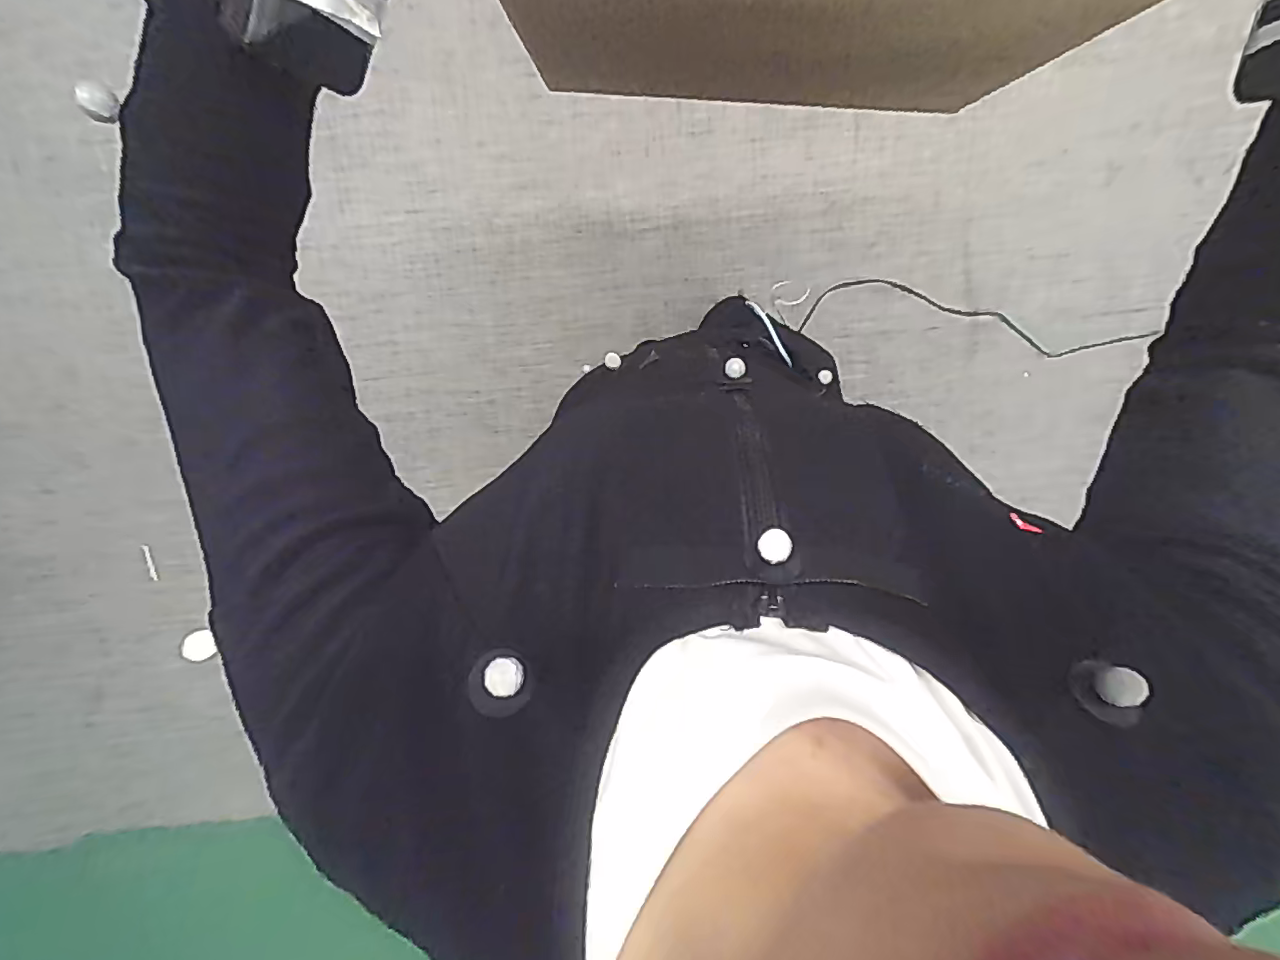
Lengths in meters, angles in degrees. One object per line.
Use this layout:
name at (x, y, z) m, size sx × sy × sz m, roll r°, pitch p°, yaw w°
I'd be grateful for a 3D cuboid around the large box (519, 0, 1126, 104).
large box at (0.117, -0.467, 0.342) m, size 0.408 × 0.320 × 0.320 m, roll 2°, pitch 111°, yaw -1°
